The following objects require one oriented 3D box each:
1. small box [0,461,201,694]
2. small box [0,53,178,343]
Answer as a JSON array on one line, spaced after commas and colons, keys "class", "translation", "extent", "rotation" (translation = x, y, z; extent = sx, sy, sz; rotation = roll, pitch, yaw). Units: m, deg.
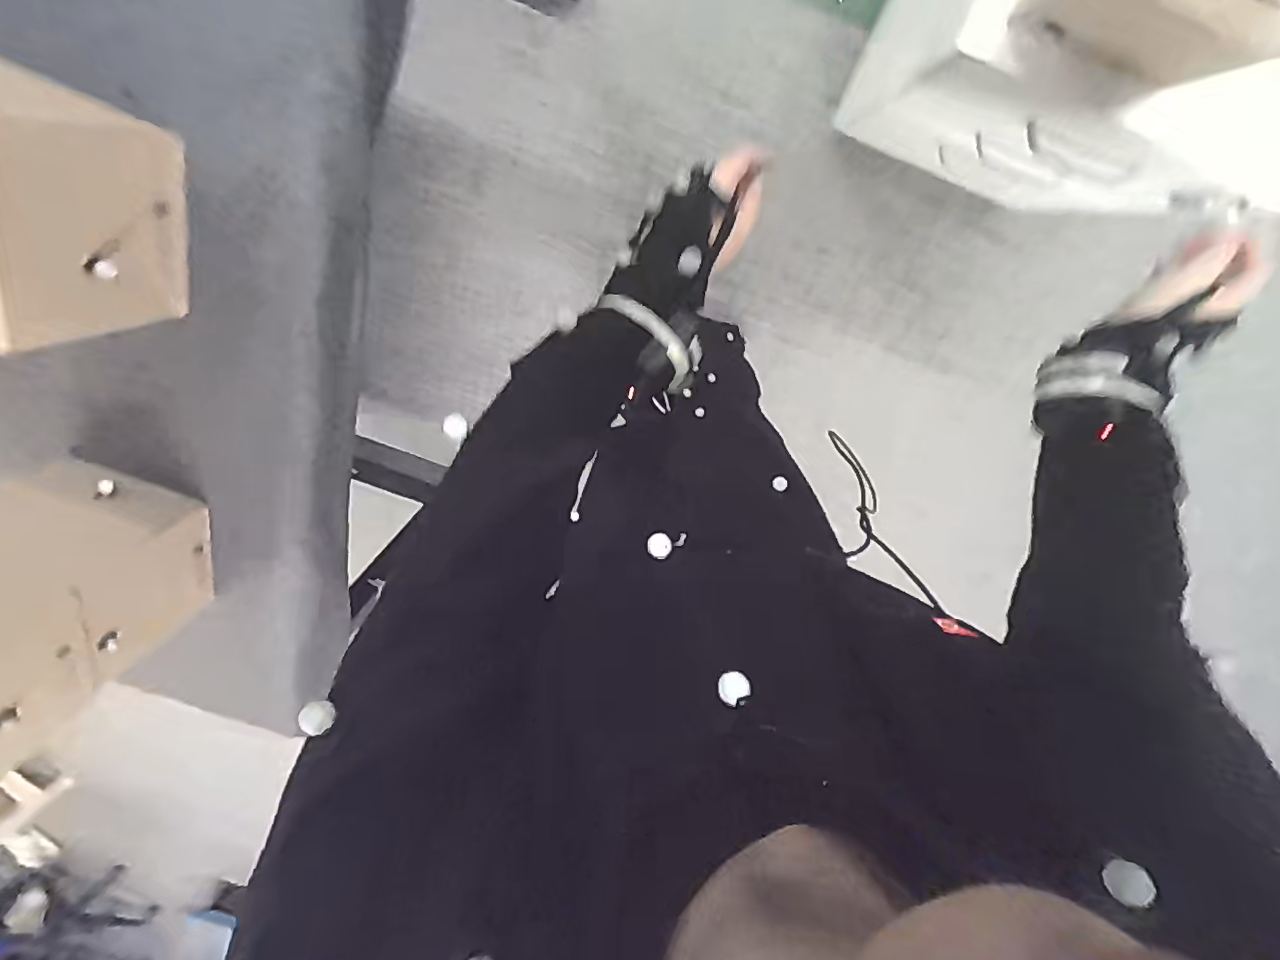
[{"class": "small box", "translation": [-0.646, 0.097, 0.607], "extent": [0.179, 0.176, 0.168], "rotation": [20, 117, -4]}, {"class": "small box", "translation": [-0.516, -0.234, 0.429], "extent": [0.179, 0.176, 0.168], "rotation": [22, 117, -5]}]
